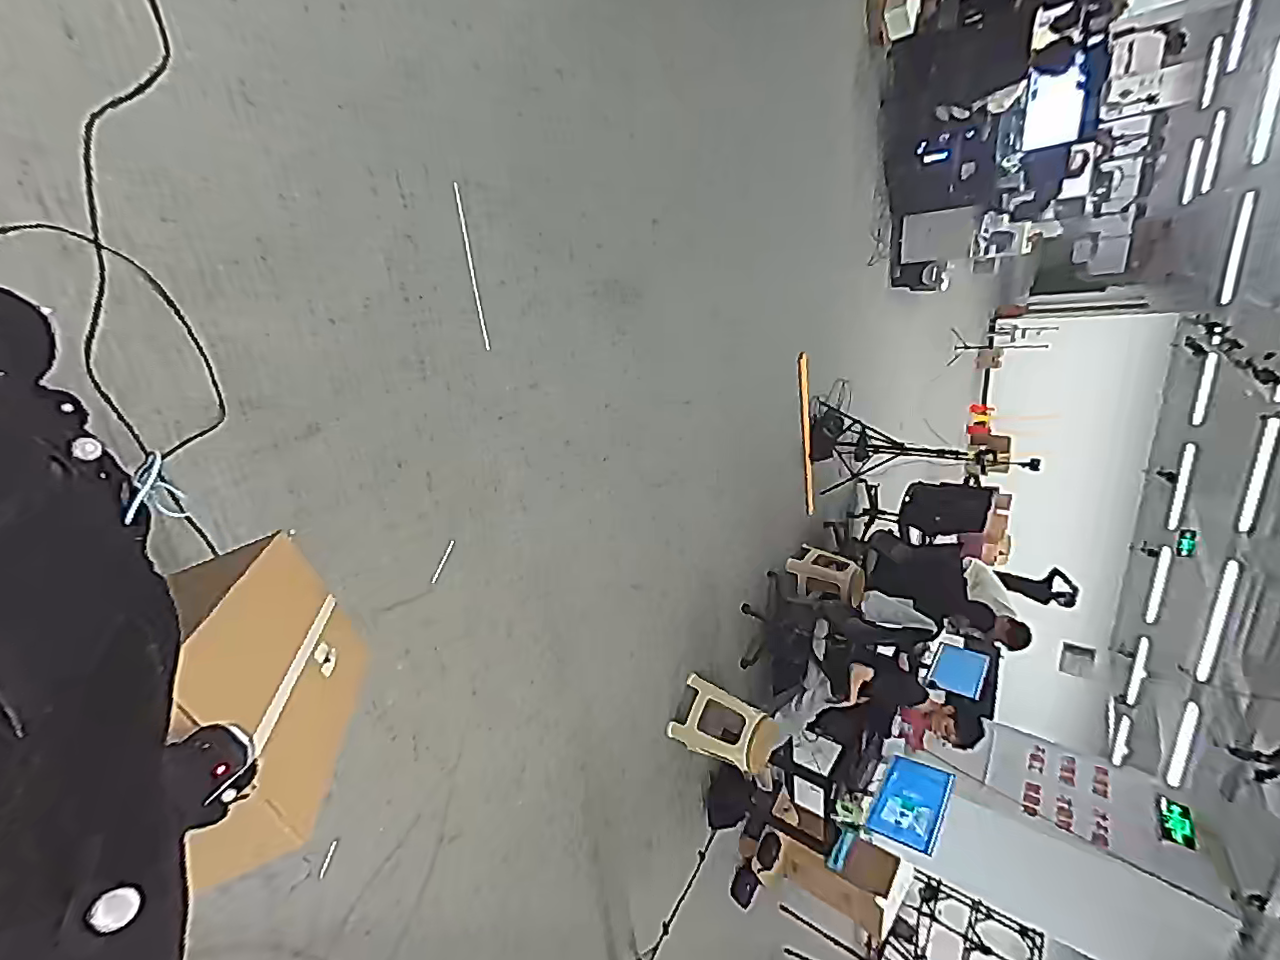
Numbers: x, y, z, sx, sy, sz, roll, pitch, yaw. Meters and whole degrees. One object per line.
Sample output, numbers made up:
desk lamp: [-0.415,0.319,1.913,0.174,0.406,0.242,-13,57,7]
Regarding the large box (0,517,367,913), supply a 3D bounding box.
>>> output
large box: [-0.687,0.322,0.837,0.320,0.408,0.320,-22,114,-6]
